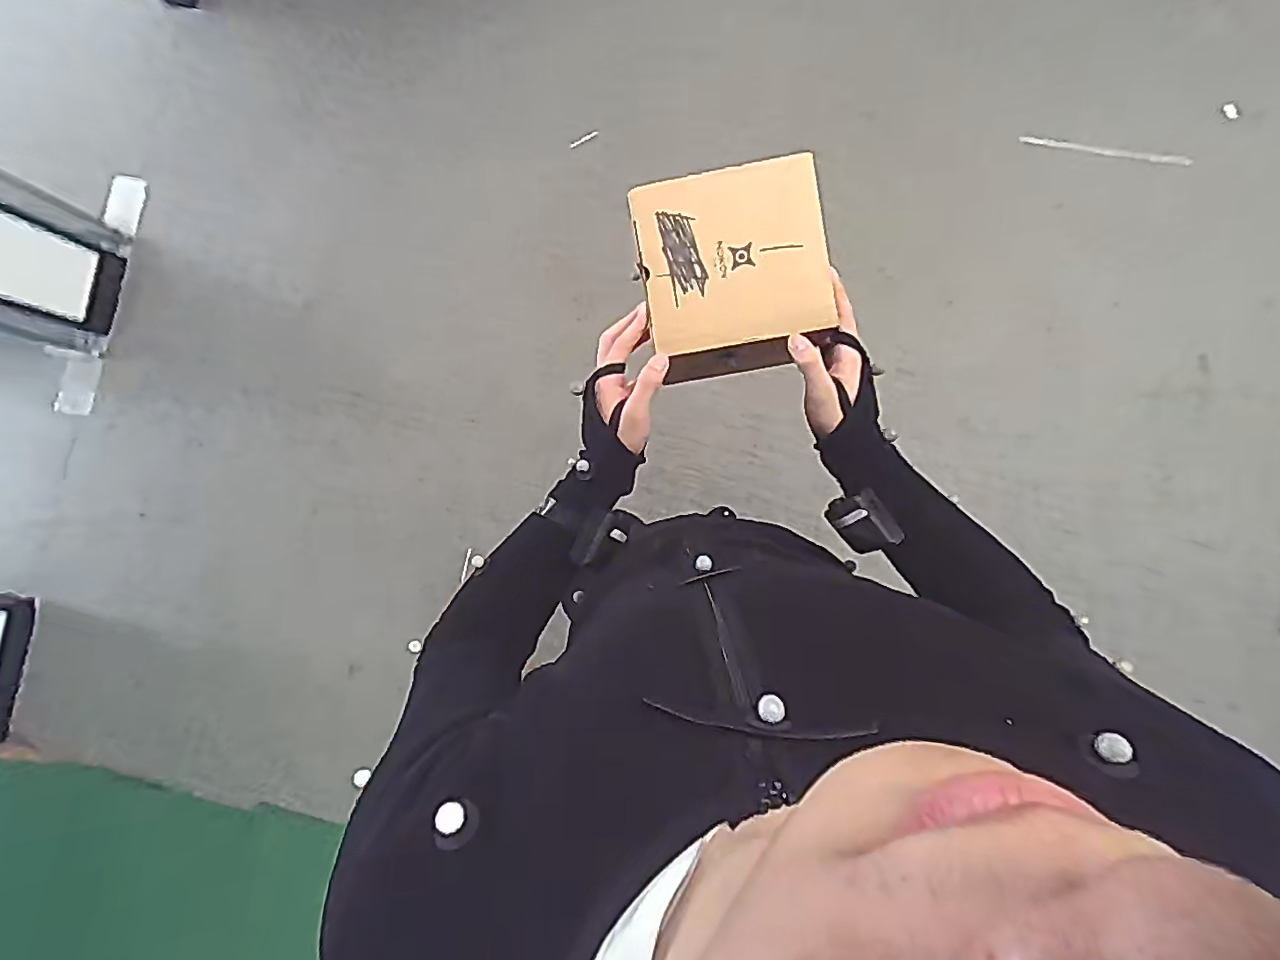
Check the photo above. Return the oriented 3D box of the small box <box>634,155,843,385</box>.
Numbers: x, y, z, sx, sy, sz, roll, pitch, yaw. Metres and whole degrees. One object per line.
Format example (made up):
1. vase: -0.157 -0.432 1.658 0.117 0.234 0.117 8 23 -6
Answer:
1. small box: 0.098 -0.207 0.583 0.179 0.176 0.168 -9 90 4
